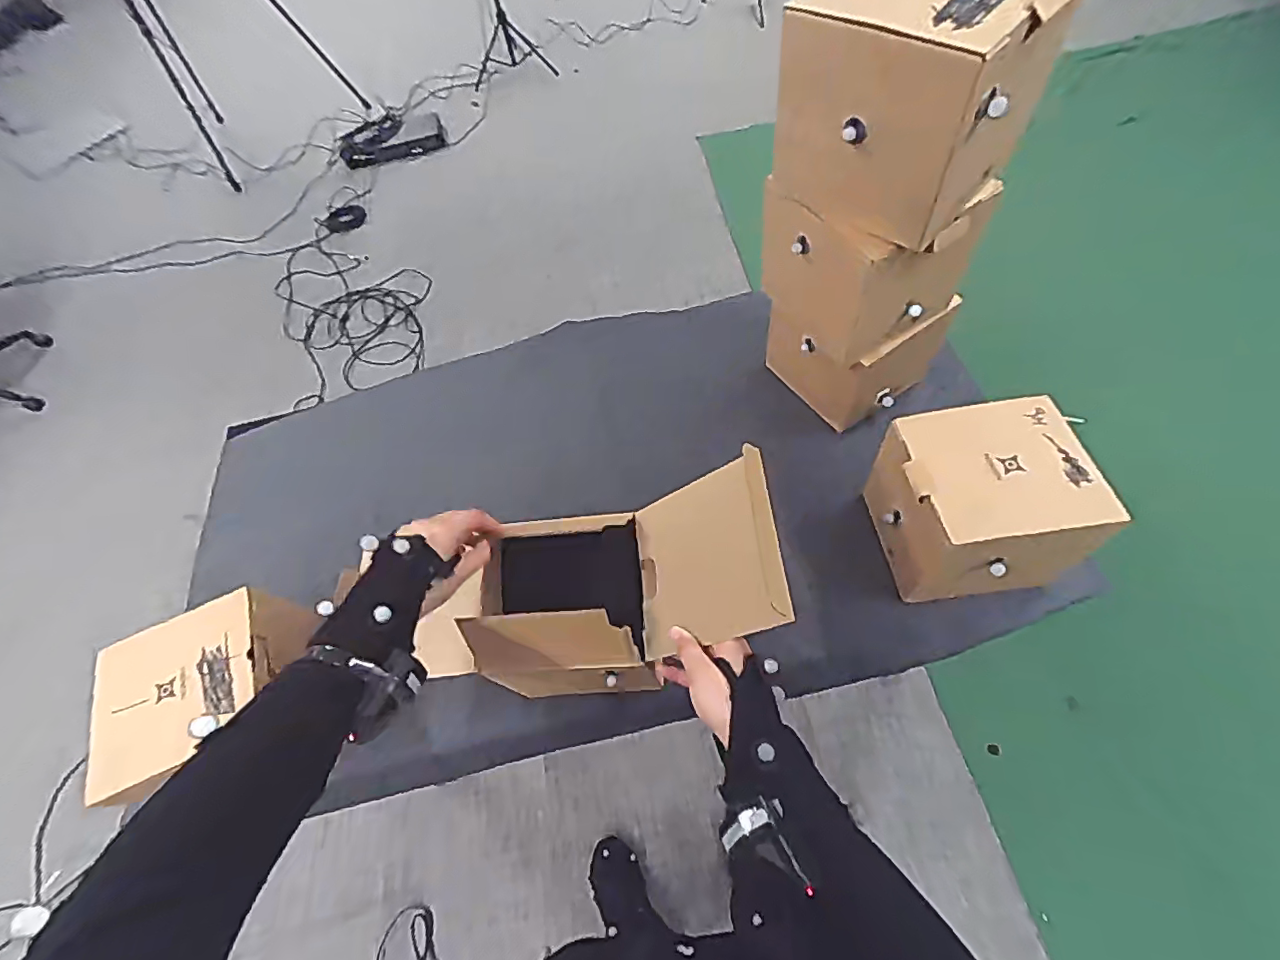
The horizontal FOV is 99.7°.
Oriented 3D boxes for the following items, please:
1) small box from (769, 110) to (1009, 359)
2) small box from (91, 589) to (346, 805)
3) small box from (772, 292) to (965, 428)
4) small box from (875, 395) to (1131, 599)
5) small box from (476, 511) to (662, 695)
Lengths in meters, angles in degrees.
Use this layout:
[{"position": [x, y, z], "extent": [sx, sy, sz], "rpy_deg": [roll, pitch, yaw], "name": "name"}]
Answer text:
[{"position": [0.265, -0.277, 0.631], "extent": [0.168, 0.176, 0.179], "rpy_deg": [-31, 63, -5], "name": "small box"}, {"position": [-0.476, 0.254, 0.639], "extent": [0.179, 0.176, 0.168], "rpy_deg": [-24, 62, -4], "name": "small box"}, {"position": [0.307, -0.208, 0.775], "extent": [0.168, 0.176, 0.179], "rpy_deg": [-33, 64, -7], "name": "small box"}, {"position": [0.392, 0.029, 0.633], "extent": [0.179, 0.176, 0.168], "rpy_deg": [-9, 57, 4], "name": "small box"}, {"position": [-0.073, 0.153, 0.640], "extent": [0.179, 0.176, 0.168], "rpy_deg": [-6, 61, 5], "name": "small box"}]
